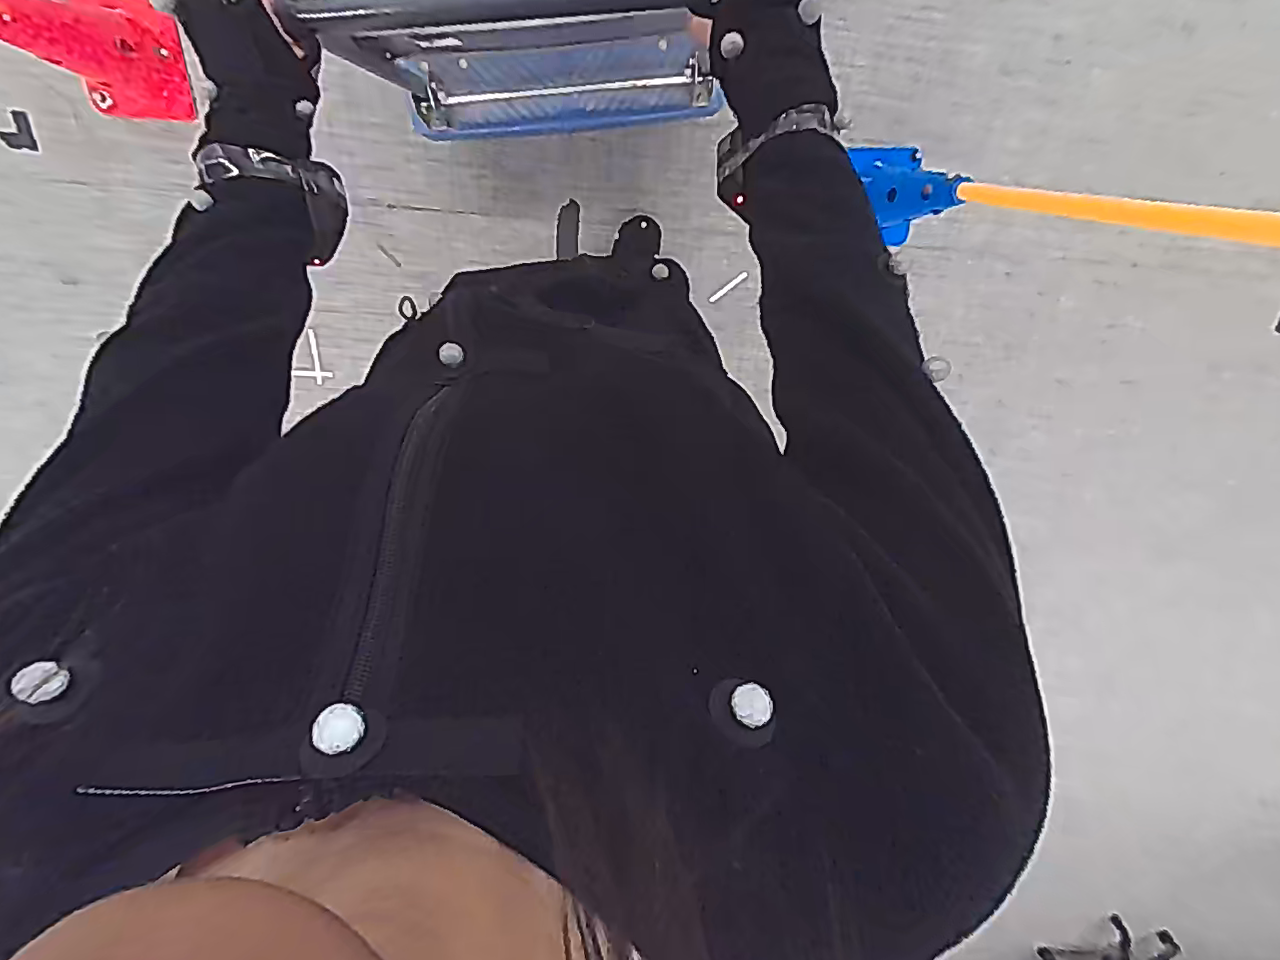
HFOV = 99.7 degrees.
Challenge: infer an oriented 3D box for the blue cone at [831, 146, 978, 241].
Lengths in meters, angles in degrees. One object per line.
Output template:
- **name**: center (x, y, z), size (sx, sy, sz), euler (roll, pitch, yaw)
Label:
- **blue cone**: center (0.541, -0.580, 1.079), size (0.193, 0.380, 0.192), euler (-1, 115, -3)
